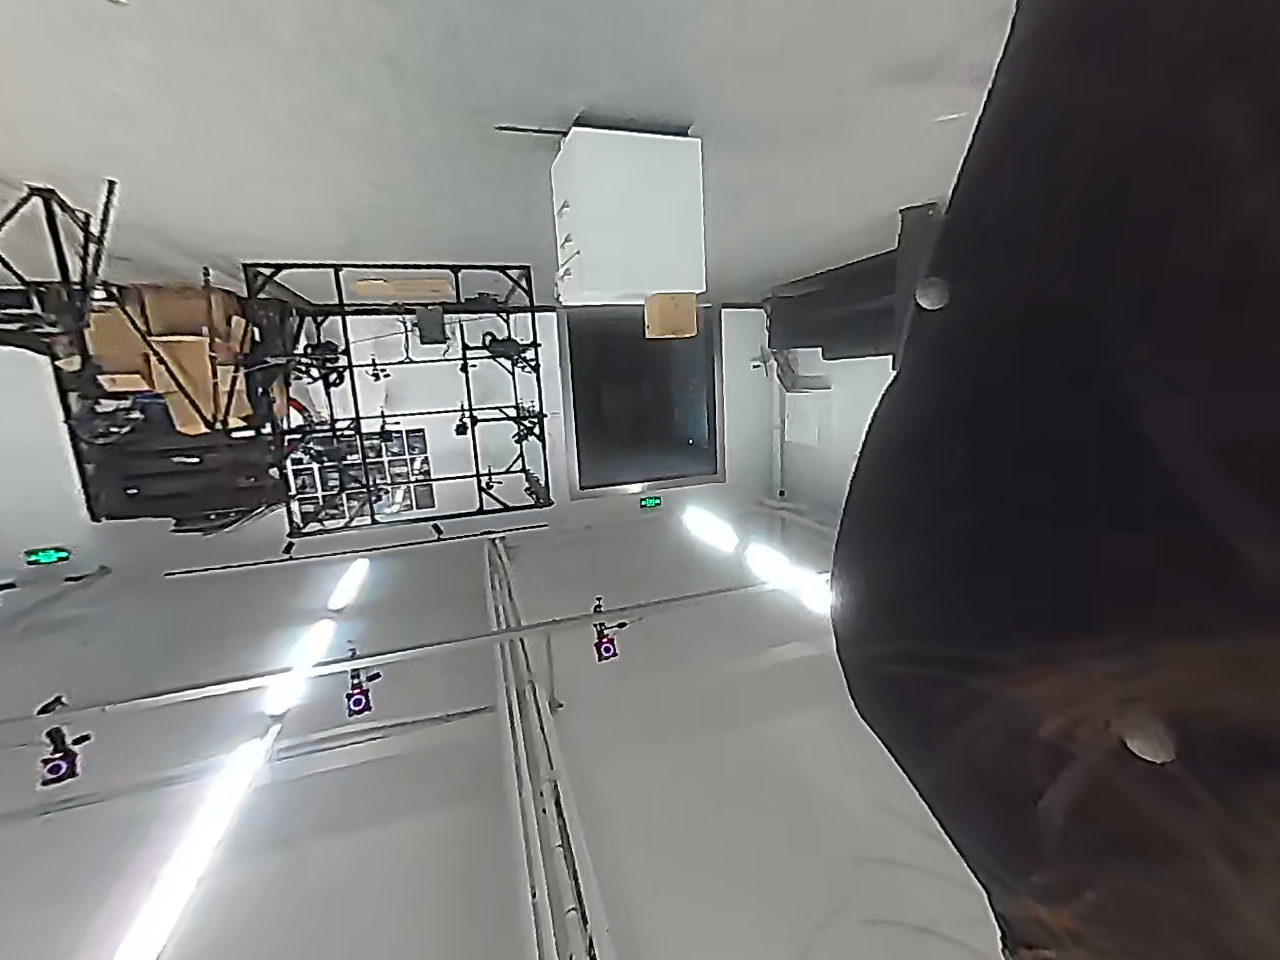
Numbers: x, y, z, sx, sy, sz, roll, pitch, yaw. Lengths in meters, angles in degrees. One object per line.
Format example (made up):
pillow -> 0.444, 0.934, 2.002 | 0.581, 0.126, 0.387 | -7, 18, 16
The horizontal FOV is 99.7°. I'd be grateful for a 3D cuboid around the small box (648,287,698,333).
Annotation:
small box -> 0.137, -0.710, 2.273 | 0.168, 0.176, 0.179 | -7, -167, -17
